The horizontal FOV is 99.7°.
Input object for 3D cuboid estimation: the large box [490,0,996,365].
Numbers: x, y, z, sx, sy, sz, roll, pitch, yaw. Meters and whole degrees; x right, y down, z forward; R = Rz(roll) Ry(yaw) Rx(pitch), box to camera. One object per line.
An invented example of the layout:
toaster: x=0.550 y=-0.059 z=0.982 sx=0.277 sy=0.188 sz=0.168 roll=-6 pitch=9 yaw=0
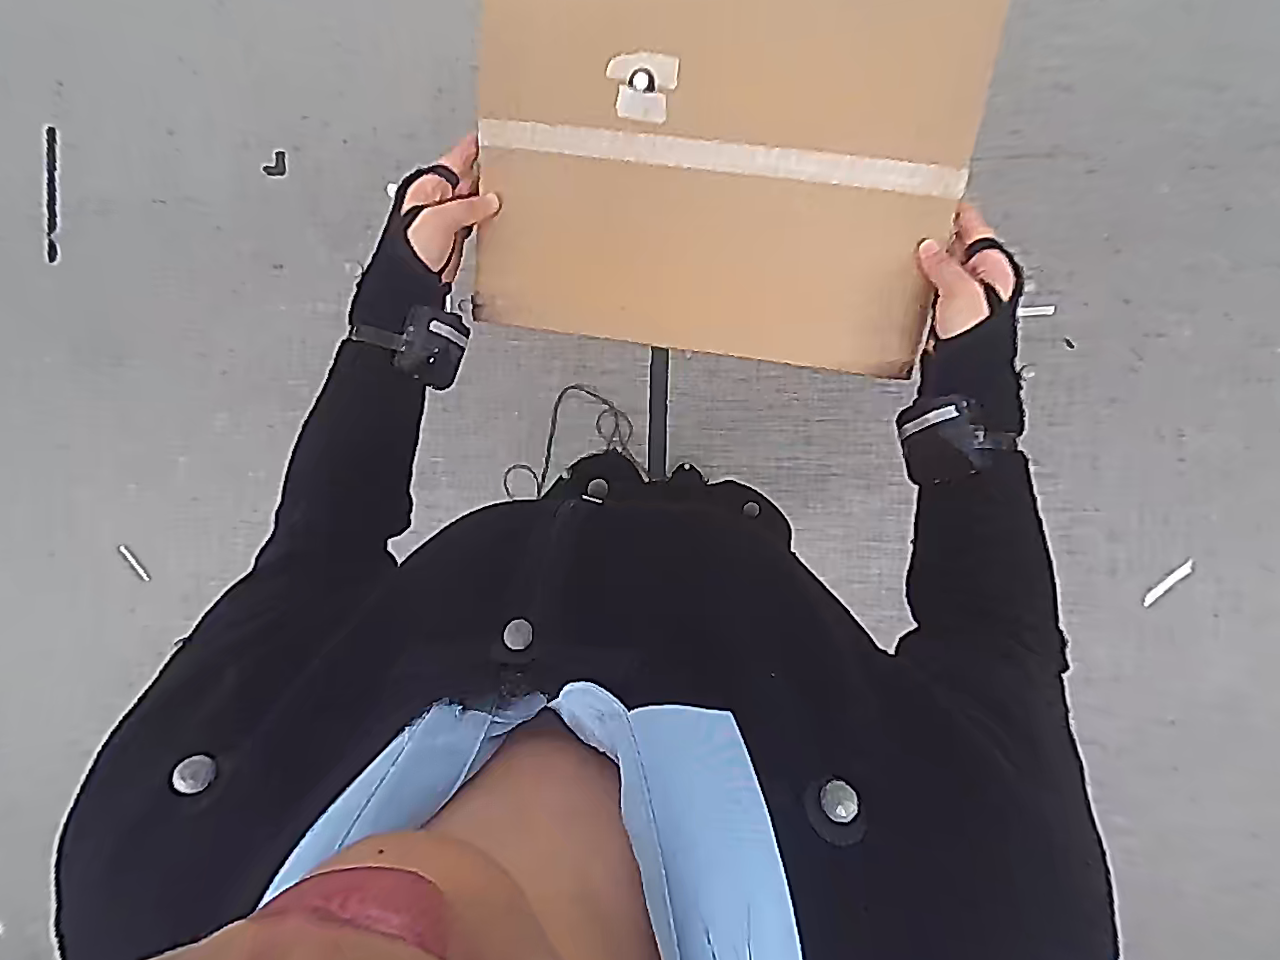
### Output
large box: x=0.084 y=-0.315 z=0.606 sx=0.408 sy=0.320 sz=0.320 roll=8 pitch=106 yaw=5
